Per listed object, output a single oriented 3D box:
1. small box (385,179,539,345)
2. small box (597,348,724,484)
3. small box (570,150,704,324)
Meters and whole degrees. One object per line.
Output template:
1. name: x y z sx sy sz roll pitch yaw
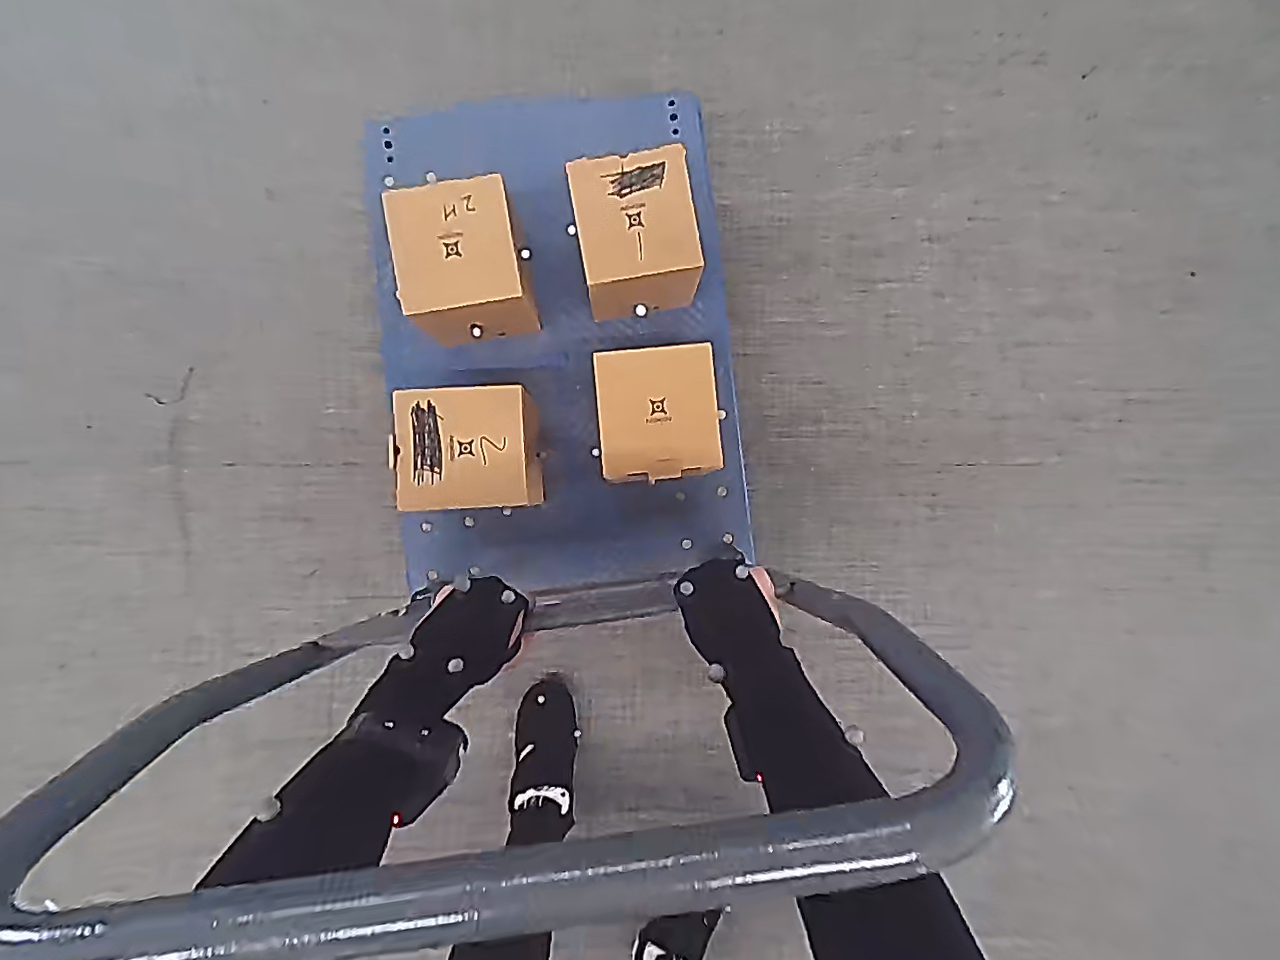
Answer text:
1. small box: -0.255 -0.312 0.814 0.168 0.176 0.179 -10 89 -3
2. small box: 0.024 -0.088 0.818 0.168 0.176 0.179 -6 89 -2
3. small box: -0.007 -0.357 0.822 0.168 0.176 0.179 -10 90 -1
